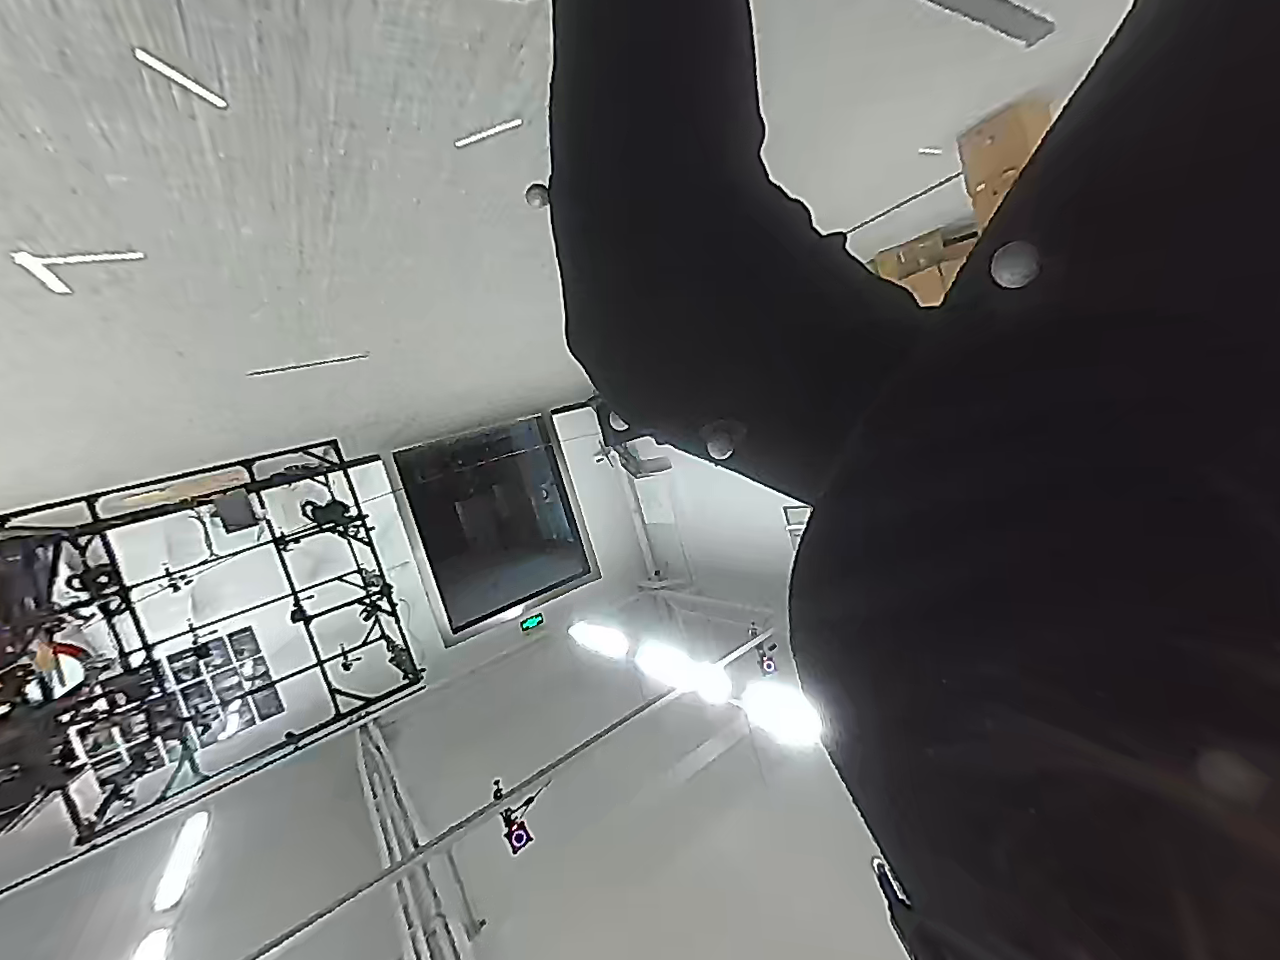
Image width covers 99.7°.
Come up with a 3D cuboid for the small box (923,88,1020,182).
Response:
[{"bbox_3d":[0.941,-0.975,1.535,0.179,0.176,0.168,-22,-172,-31],"label":"small box"}]
